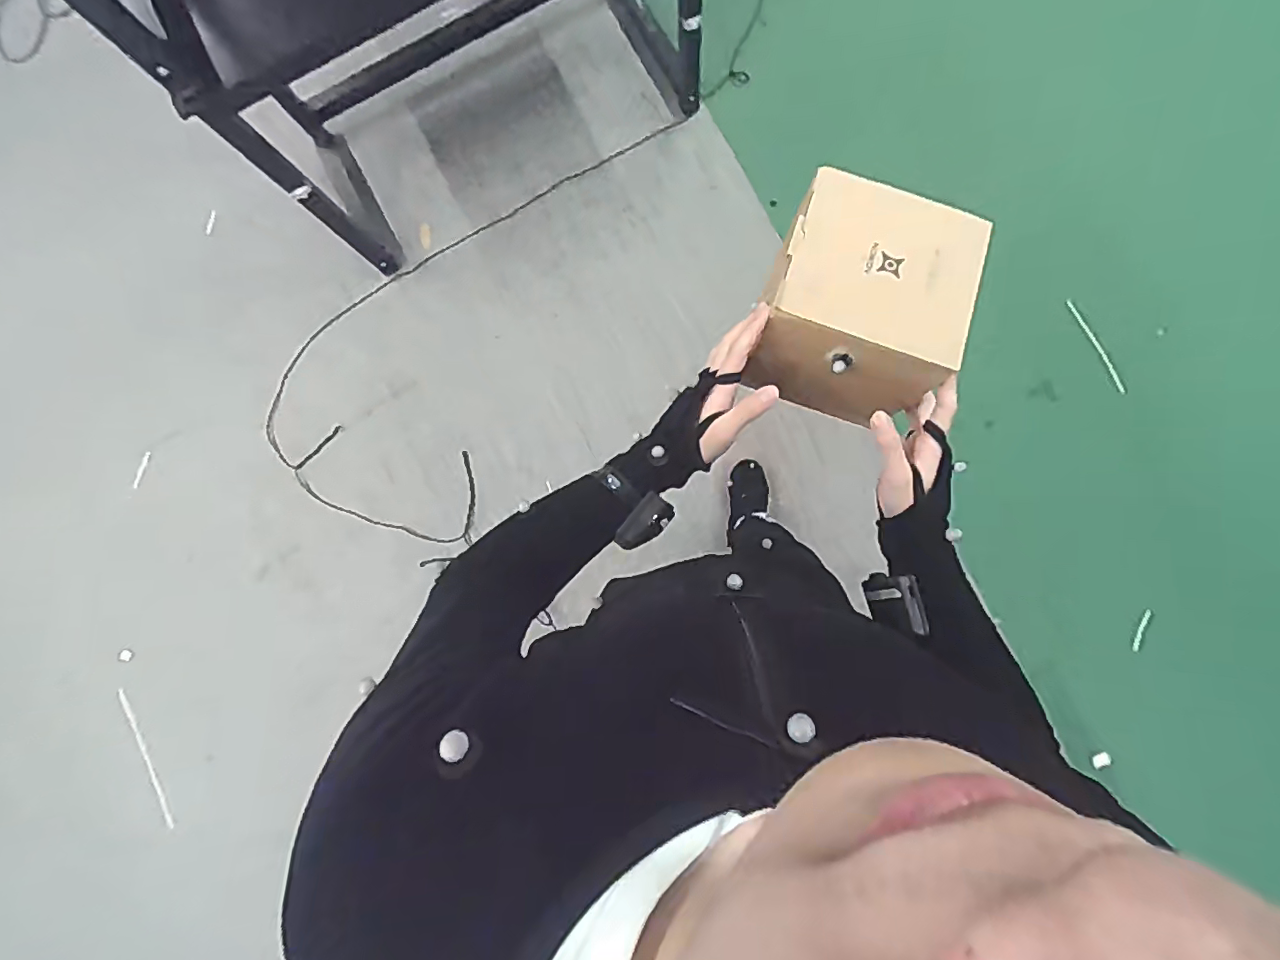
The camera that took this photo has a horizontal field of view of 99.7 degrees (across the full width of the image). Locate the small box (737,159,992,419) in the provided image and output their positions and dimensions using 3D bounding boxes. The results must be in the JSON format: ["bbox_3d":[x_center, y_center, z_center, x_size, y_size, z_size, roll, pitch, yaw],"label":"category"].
[{"bbox_3d":[0.216,-0.182,0.564,0.179,0.176,0.168,20,76,2],"label":"small box"}]
